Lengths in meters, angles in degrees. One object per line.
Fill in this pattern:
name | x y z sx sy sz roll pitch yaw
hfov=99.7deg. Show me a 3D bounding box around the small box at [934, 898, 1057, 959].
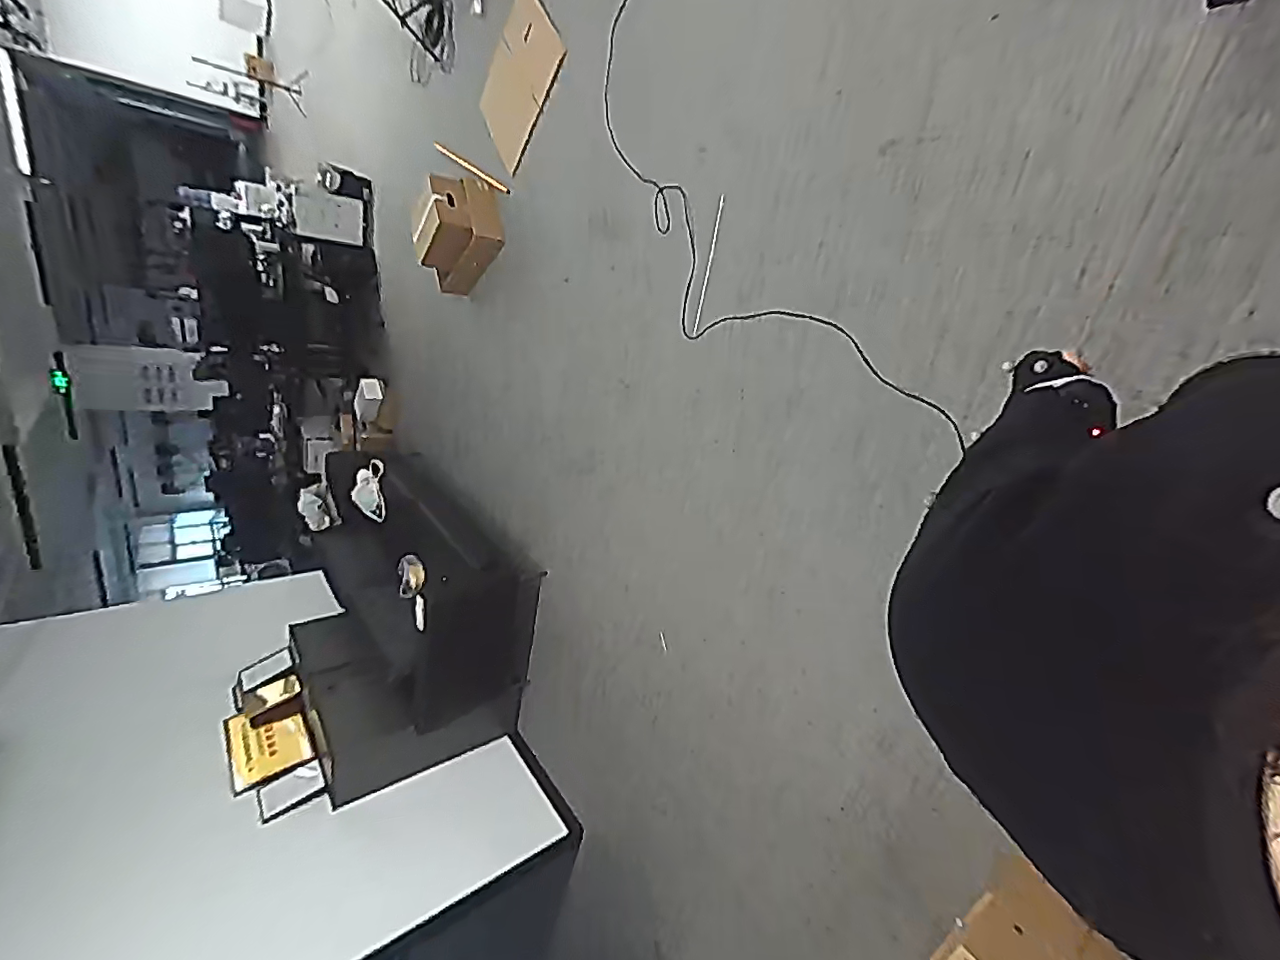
small box | 0.710 1.002 1.083 0.168 0.176 0.179 39 125 41
